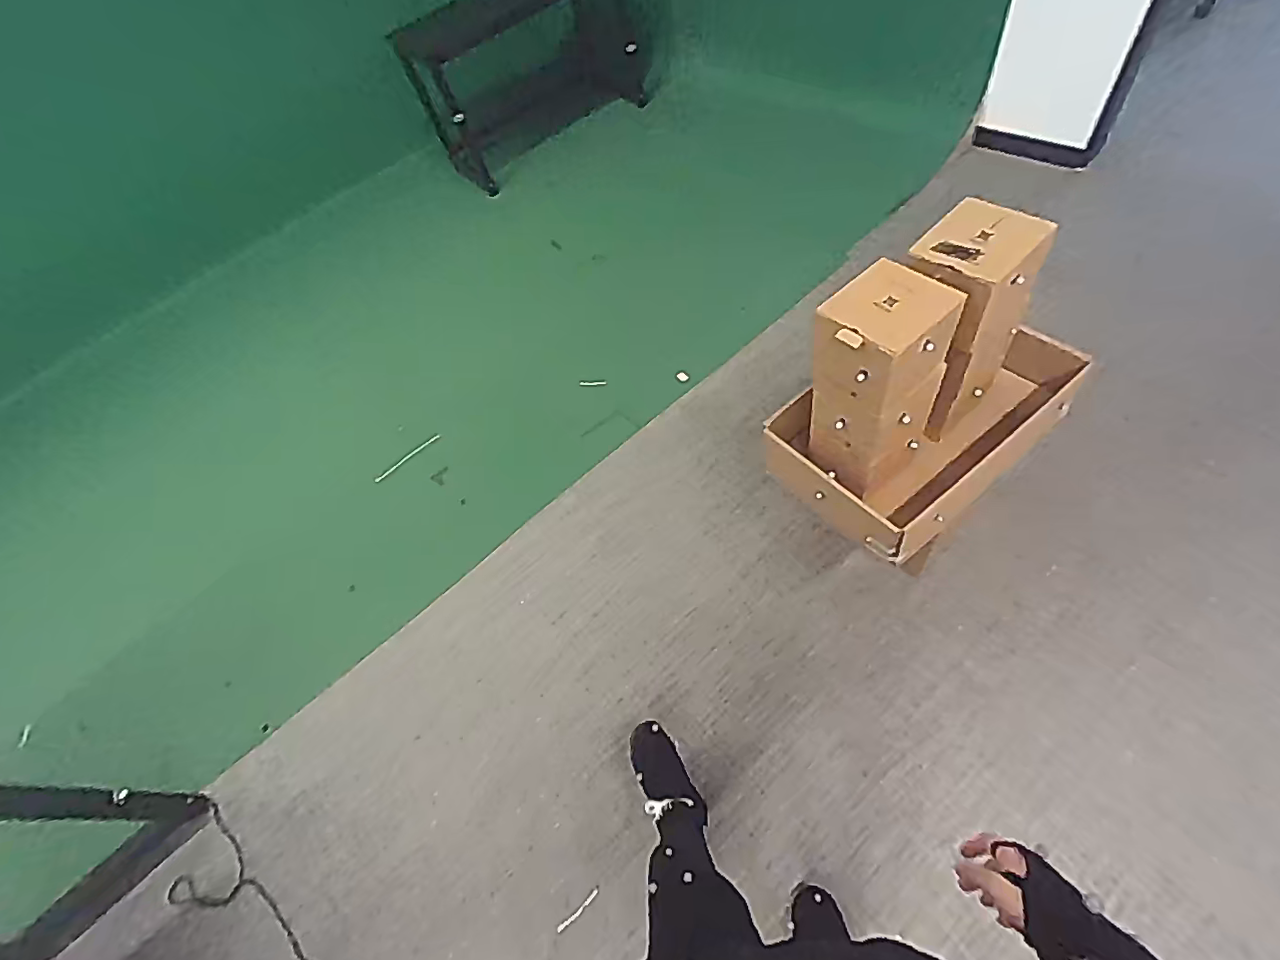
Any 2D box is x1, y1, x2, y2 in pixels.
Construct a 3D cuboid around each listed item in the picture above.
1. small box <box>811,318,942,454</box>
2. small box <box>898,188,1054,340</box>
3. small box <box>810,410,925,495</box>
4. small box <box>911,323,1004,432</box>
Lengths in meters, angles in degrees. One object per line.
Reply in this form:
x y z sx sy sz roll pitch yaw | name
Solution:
0.469 -0.185 1.098 0.179 0.176 0.168 -38 58 -9 | small box
0.604 -0.393 0.999 0.179 0.176 0.168 -42 58 -10 | small box
0.506 -0.100 1.233 0.179 0.176 0.168 -37 56 -10 | small box
0.705 -0.250 1.279 0.179 0.176 0.168 -41 58 -8 | small box
